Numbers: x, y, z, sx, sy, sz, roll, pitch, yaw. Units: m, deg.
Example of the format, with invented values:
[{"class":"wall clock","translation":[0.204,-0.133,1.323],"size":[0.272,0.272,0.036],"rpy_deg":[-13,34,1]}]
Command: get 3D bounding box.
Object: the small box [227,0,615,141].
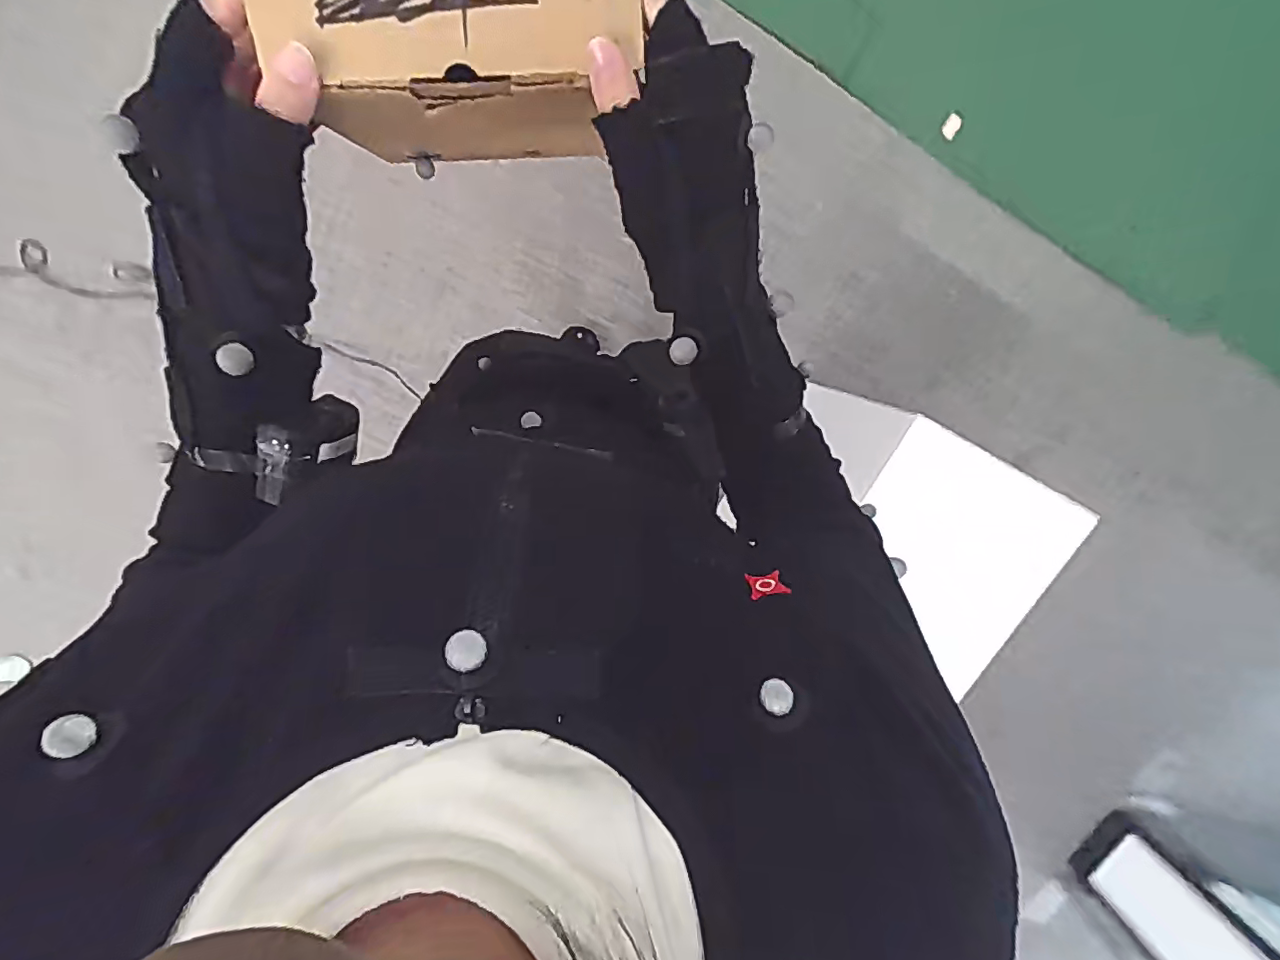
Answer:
[{"class":"small box","translation":[-0.103,-0.294,0.283],"size":[0.168,0.176,0.179],"rpy_deg":[-6,110,-5]}]
